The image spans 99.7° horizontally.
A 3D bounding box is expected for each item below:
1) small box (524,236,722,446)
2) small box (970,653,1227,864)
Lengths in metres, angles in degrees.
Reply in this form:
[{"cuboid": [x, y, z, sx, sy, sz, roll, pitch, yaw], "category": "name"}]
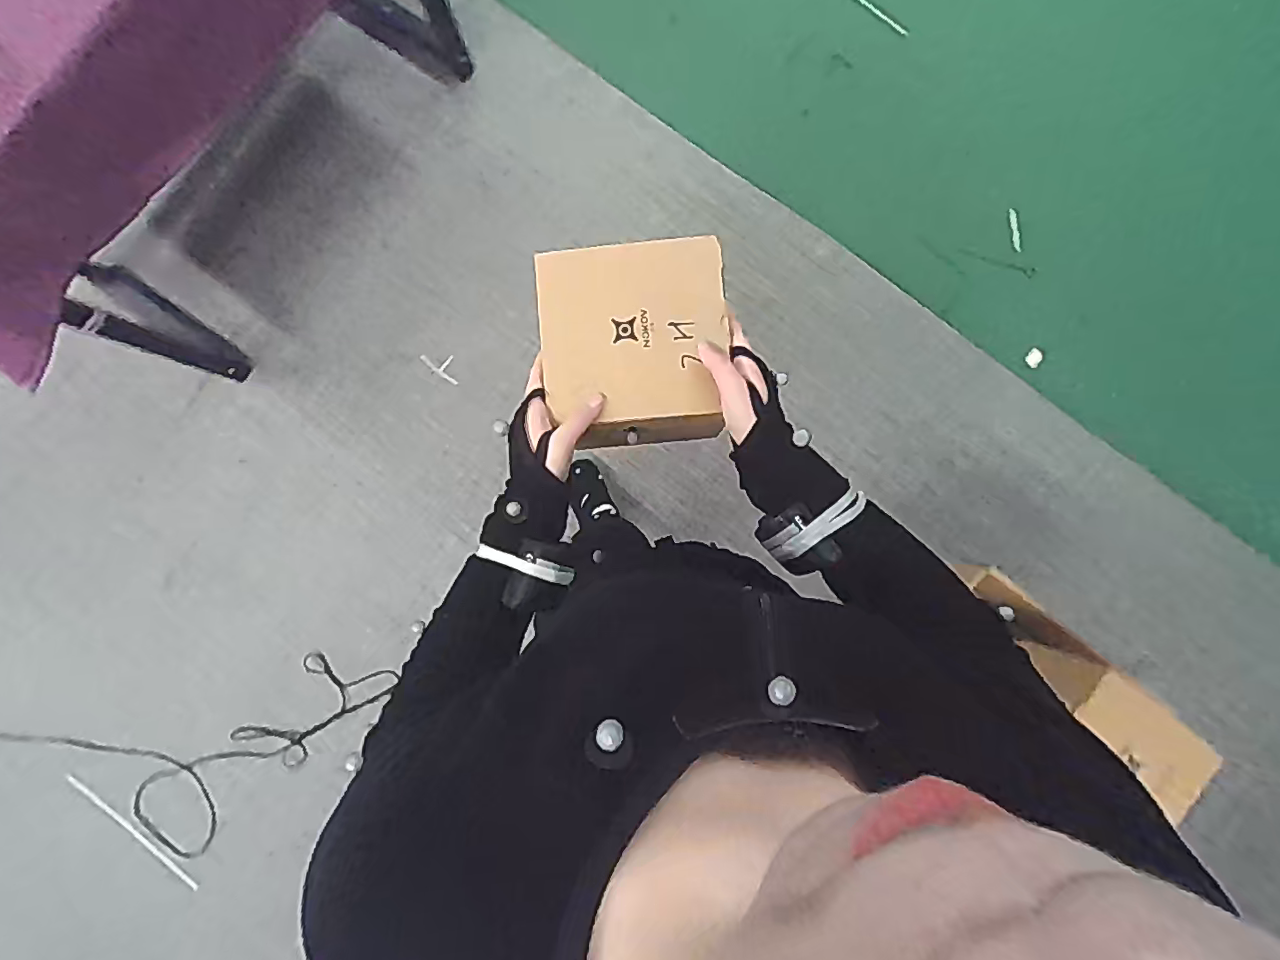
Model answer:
[{"cuboid": [-0.012, -0.133, 0.577, 0.179, 0.176, 0.168, -5, 86, 2], "category": "small box"}, {"cuboid": [0.613, 0.365, 0.752, 0.179, 0.176, 0.168, 40, 88, 4], "category": "small box"}]
